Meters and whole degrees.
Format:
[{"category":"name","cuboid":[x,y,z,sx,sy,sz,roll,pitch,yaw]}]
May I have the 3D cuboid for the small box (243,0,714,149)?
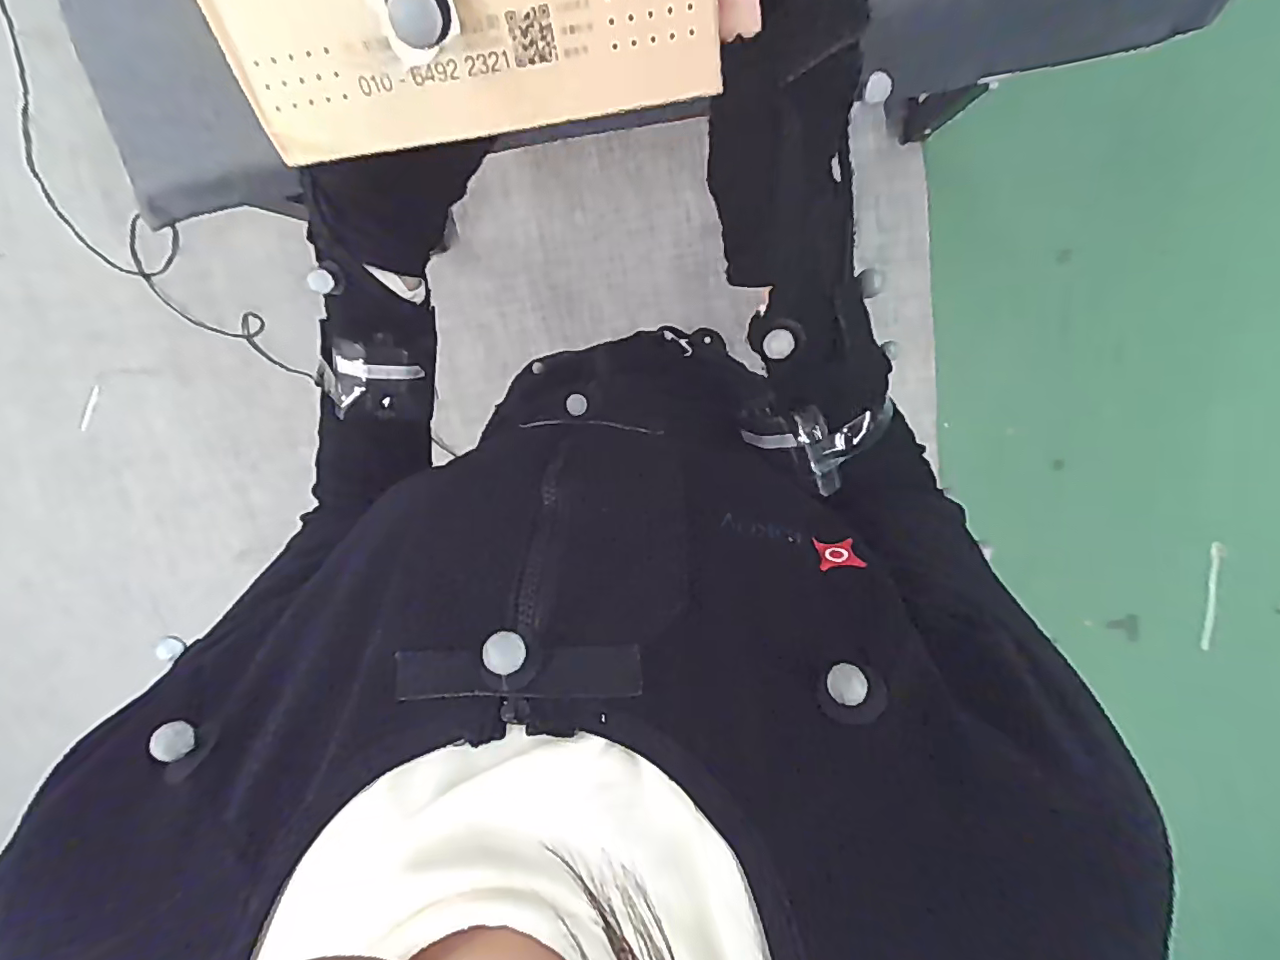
[{"category":"small box","cuboid":[-0.065,-0.249,0.211,0.168,0.179,0.176,-8,133,5]}]
